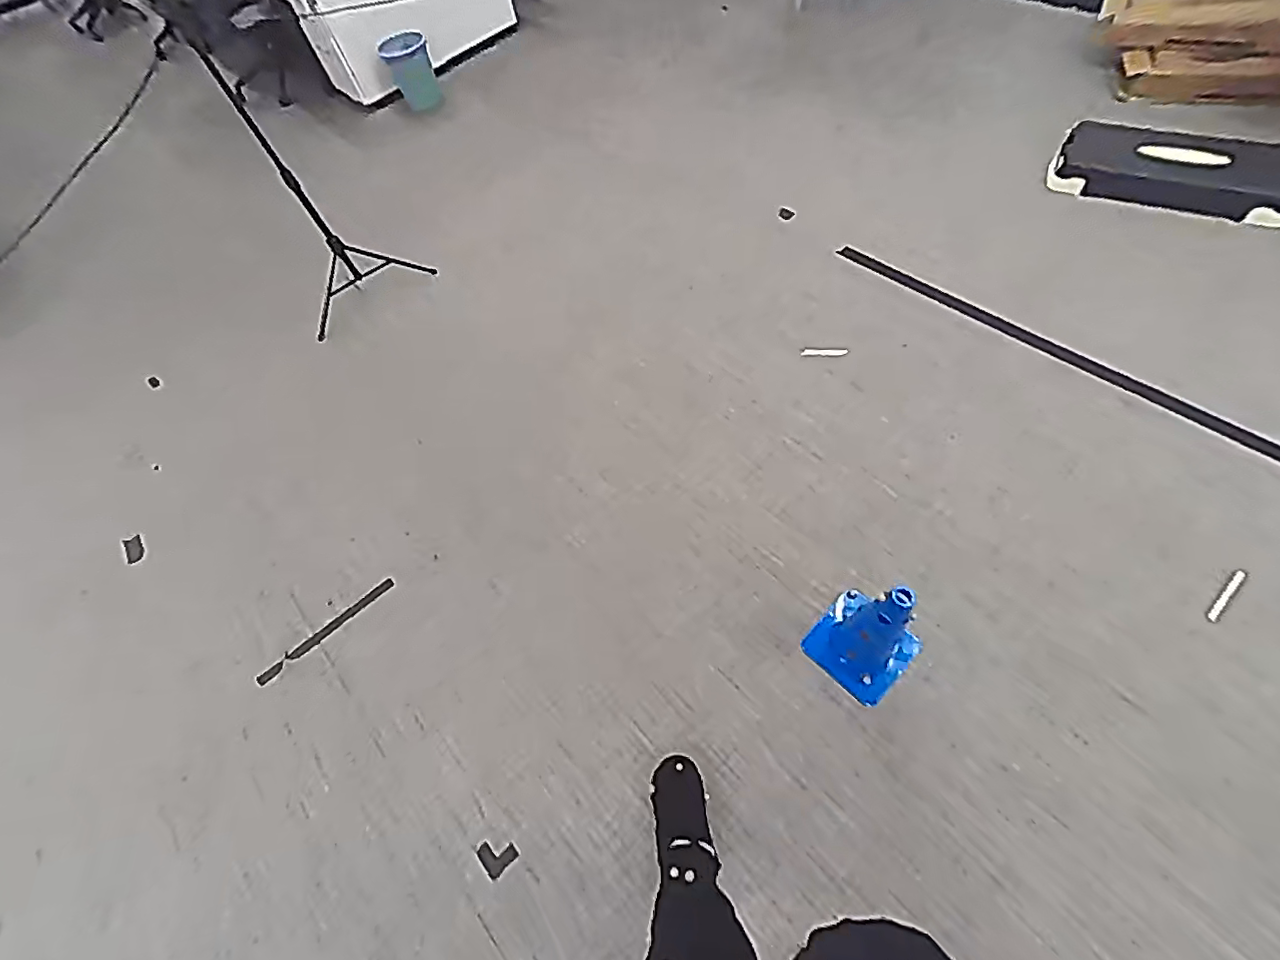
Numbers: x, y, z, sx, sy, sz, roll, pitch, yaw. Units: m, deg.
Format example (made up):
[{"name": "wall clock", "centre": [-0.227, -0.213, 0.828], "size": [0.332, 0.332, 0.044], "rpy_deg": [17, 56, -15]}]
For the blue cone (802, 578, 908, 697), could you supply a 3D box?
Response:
[{"name": "blue cone", "centre": [0.466, 0.287, 1.093], "size": [0.193, 0.380, 0.192], "rpy_deg": [-41, 61, -15]}]
